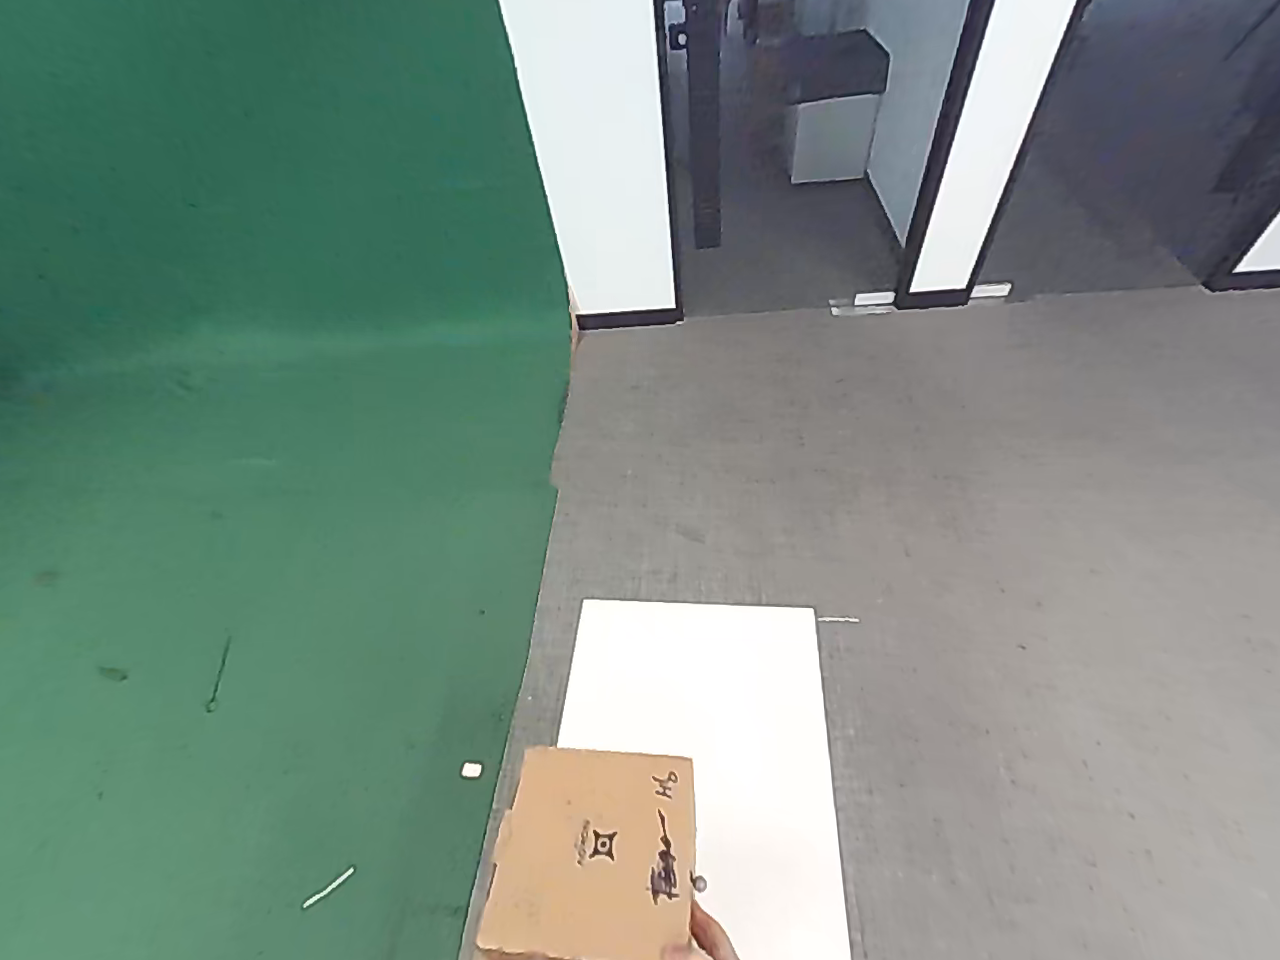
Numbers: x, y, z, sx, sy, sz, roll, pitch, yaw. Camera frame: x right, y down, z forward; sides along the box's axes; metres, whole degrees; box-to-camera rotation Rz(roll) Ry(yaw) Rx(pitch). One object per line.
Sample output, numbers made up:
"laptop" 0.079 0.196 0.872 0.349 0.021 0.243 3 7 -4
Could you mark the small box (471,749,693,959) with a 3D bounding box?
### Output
"small box" -0.039 0.397 0.544 0.179 0.176 0.168 0 38 8
